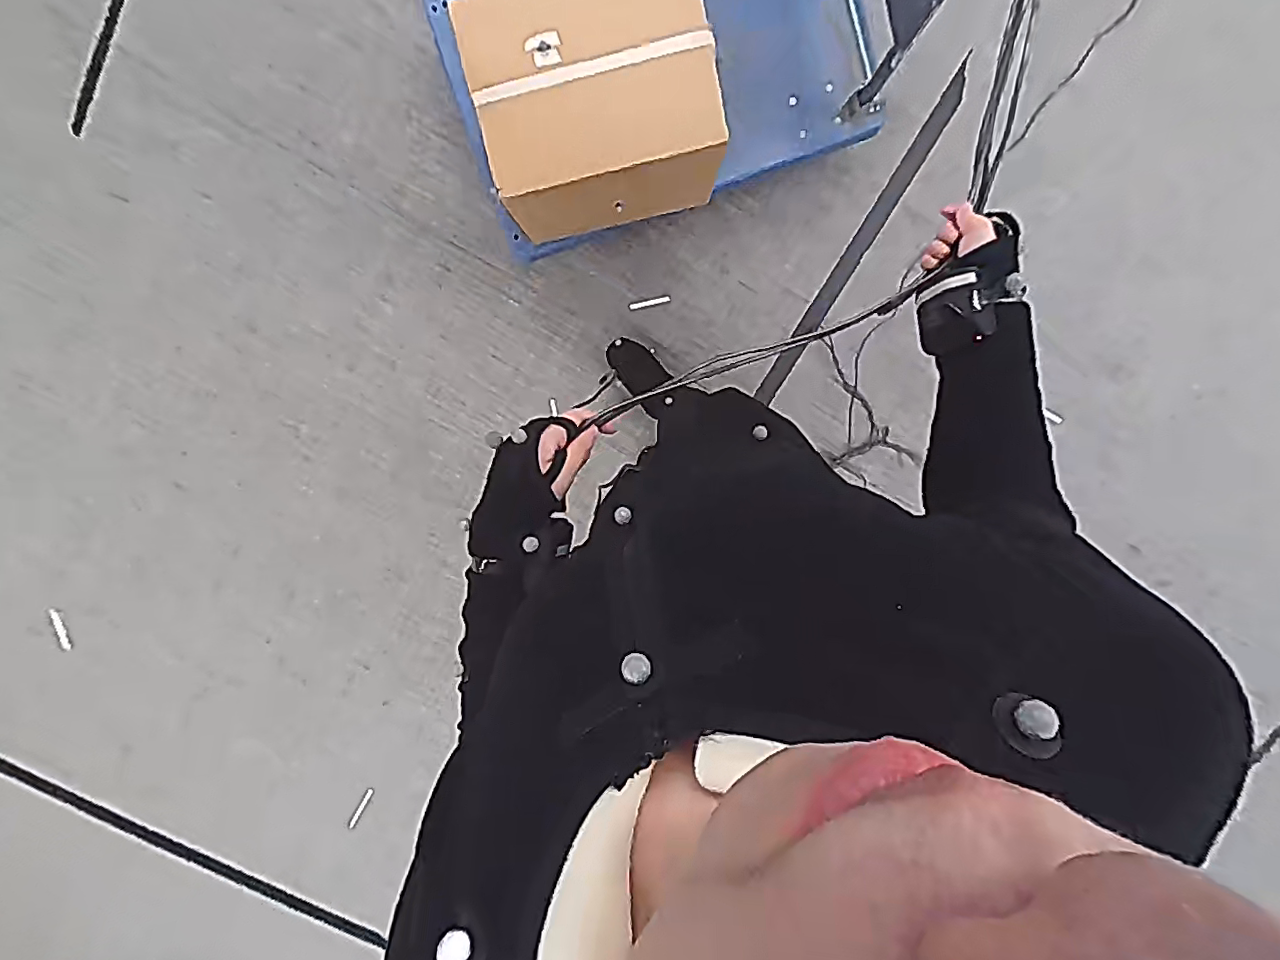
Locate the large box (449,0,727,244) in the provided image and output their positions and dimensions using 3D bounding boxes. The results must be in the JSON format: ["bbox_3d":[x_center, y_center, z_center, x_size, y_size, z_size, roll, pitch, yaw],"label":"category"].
[{"bbox_3d":[-0.078,-0.688,1.028,0.408,0.320,0.320,-13,99,3],"label":"large box"}]
